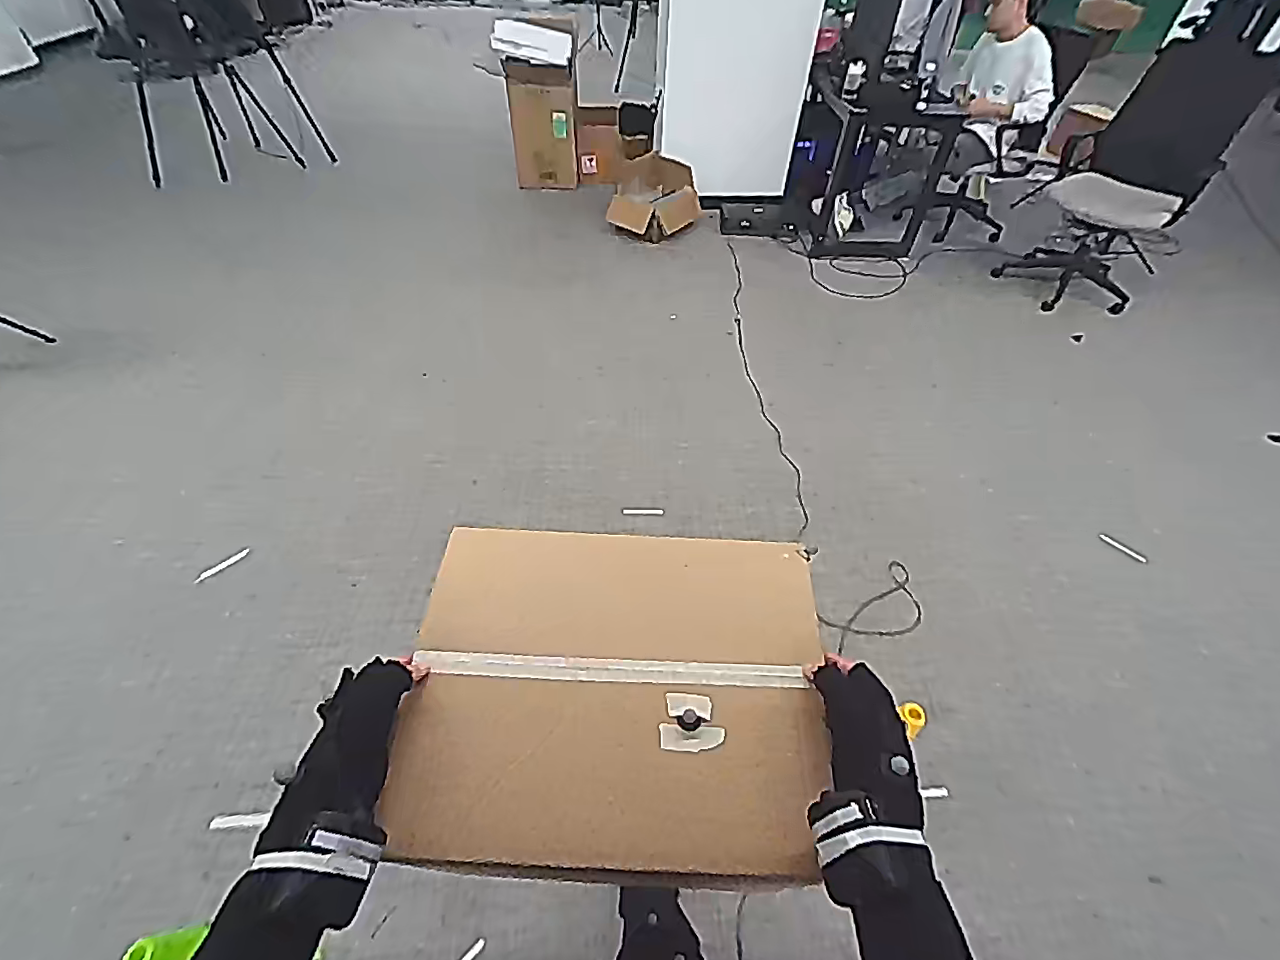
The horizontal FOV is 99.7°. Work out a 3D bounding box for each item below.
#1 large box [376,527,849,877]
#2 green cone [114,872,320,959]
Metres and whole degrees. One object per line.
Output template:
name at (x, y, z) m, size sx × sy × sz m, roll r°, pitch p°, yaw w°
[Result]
large box at (-0.024, 0.276, 0.654) m, size 0.408 × 0.320 × 0.320 m, roll 3°, pitch 52°, yaw 0°
green cone at (-0.765, 0.828, 0.949) m, size 0.202 × 0.368 × 0.200 m, roll -31°, pitch 55°, yaw -24°
